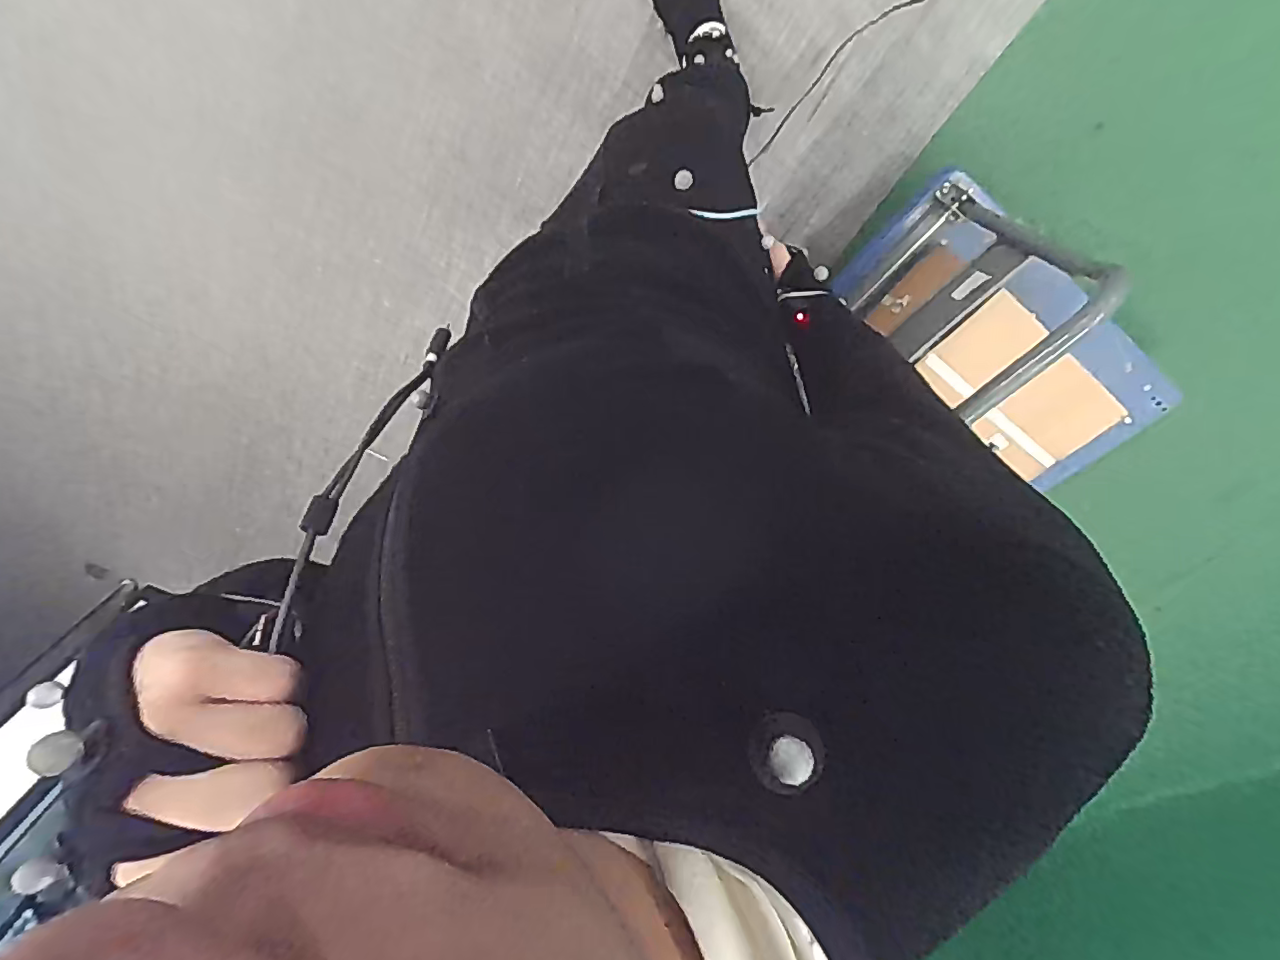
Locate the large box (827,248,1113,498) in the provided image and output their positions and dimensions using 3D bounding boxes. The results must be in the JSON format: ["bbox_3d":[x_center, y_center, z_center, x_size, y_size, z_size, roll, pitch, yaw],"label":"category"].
[{"bbox_3d":[0.696,-0.238,1.204,0.408,0.320,0.320,32,124,-18],"label":"large box"}]
